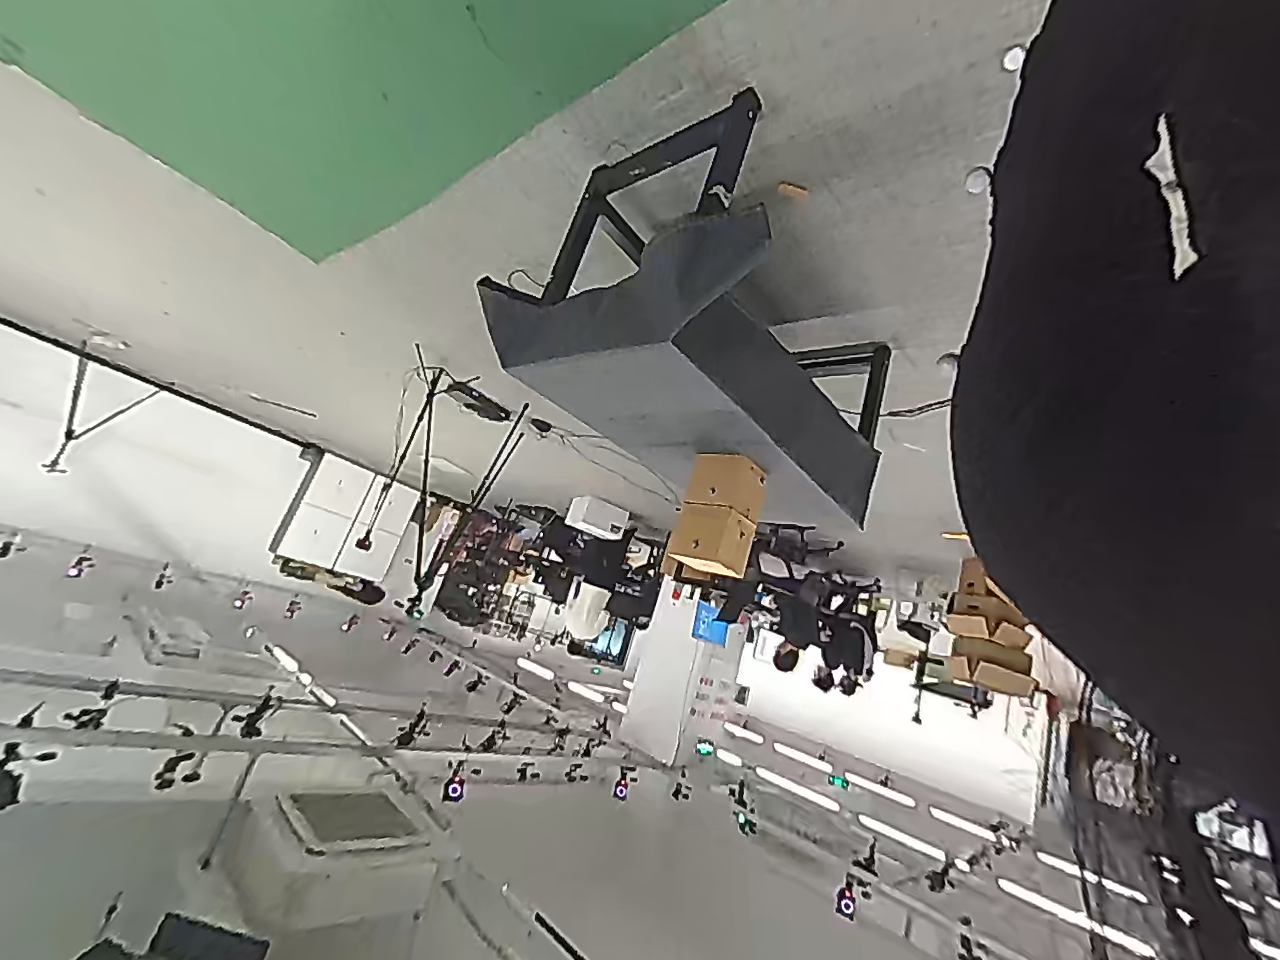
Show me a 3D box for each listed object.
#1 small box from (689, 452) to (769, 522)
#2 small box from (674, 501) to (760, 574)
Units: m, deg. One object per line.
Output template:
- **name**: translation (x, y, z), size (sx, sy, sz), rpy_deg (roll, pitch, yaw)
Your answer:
- **small box**: translation (0.283, 0.019, 1.668), size (0.179, 0.176, 0.168), rpy_deg (4, 160, 44)
- **small box**: translation (0.234, 0.168, 1.625), size (0.179, 0.176, 0.168), rpy_deg (3, 159, 43)
